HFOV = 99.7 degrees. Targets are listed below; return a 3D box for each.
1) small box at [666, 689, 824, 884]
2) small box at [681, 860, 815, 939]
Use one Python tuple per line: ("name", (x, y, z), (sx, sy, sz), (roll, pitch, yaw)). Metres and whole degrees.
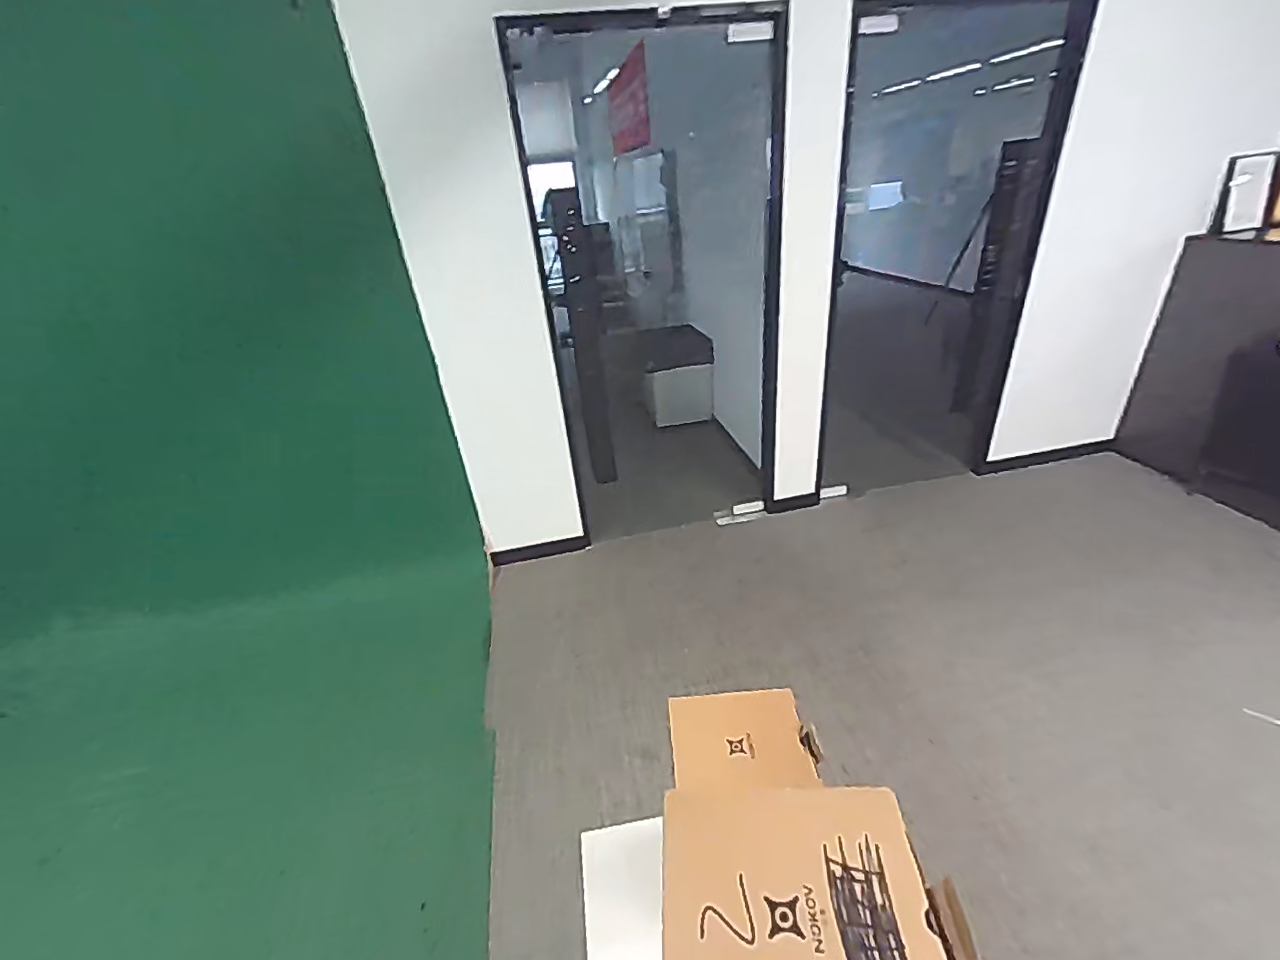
("small box", (0.132, 0.411, 0.727), (0.179, 0.176, 0.168), (-5, 29, 0))
("small box", (0.150, 0.551, 0.809), (0.179, 0.176, 0.168), (-6, 29, 2))
